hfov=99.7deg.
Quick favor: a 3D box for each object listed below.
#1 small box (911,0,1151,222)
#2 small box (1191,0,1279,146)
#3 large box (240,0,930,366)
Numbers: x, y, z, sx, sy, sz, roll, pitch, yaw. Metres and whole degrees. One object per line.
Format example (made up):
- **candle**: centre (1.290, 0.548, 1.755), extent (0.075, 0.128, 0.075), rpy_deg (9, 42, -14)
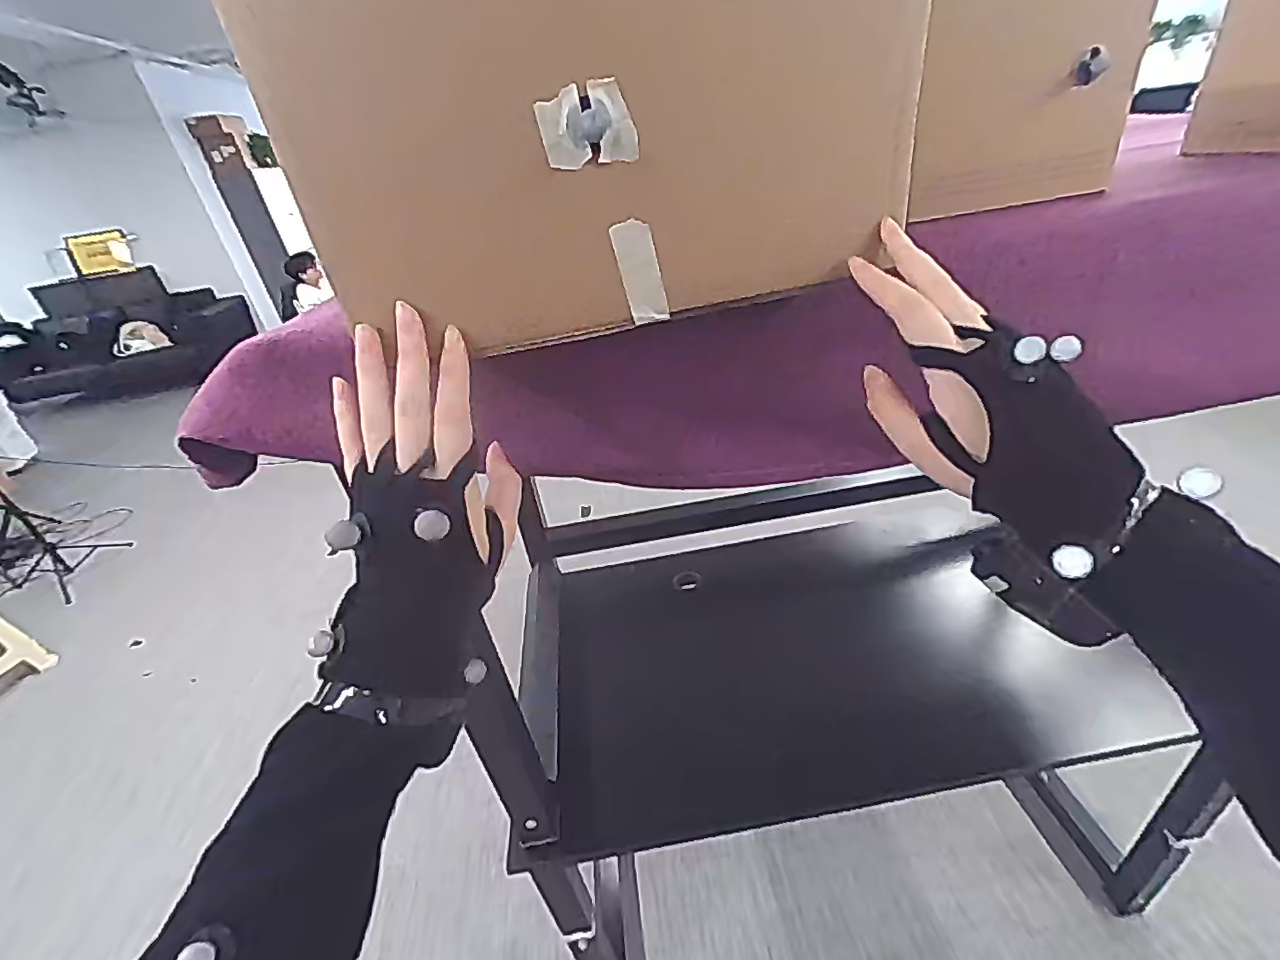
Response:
- **small box**: centre (0.282, -0.336, 0.472), extent (0.179, 0.176, 0.168), rpy_deg (-11, 30, 0)
- **small box**: centre (0.643, -0.389, 0.456), extent (0.179, 0.176, 0.168), rpy_deg (-11, 30, -3)
- **large box**: centre (-0.056, -0.307, 0.386), extent (0.320, 0.320, 0.408), rpy_deg (-13, 30, -8)
